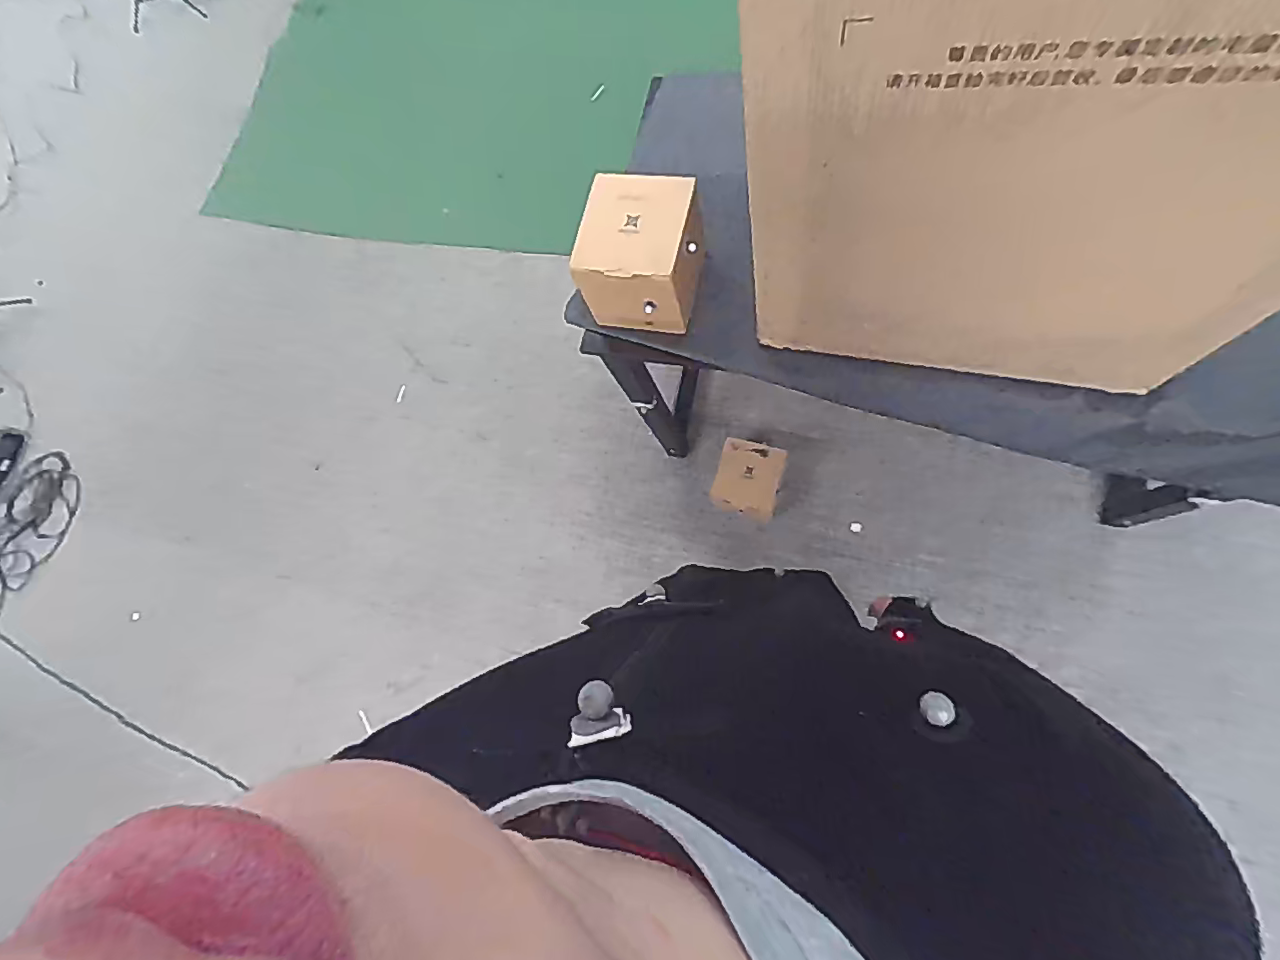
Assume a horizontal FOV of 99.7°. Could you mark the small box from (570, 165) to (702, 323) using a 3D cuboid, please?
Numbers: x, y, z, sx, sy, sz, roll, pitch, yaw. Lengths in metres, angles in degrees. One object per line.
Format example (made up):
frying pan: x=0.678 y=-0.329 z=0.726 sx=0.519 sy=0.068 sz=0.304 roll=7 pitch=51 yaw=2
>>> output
small box: x=0.004 y=-0.383 z=0.897 sx=0.168 sy=0.176 sz=0.179 roll=10 pitch=77 yaw=13
